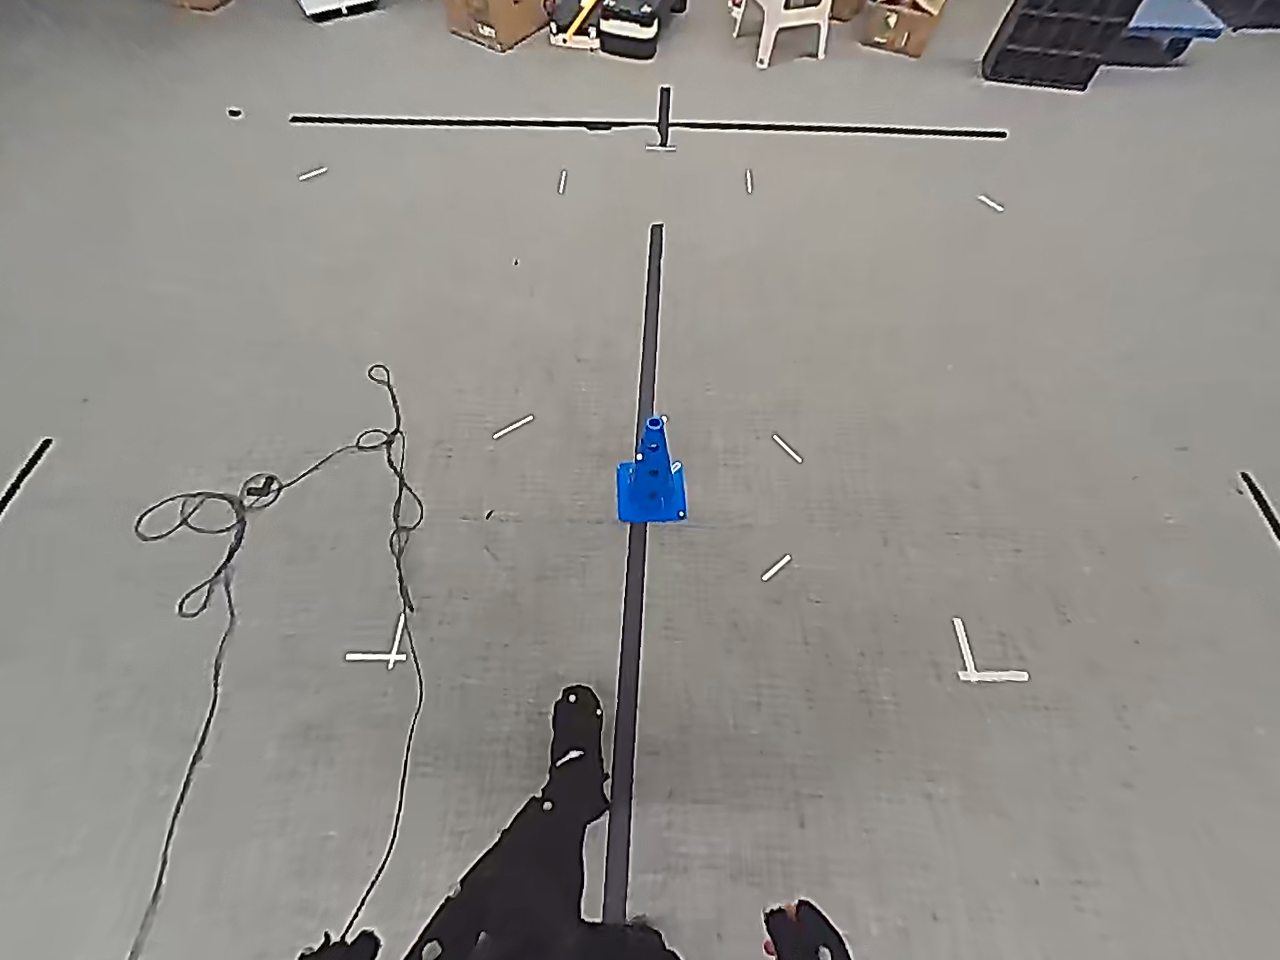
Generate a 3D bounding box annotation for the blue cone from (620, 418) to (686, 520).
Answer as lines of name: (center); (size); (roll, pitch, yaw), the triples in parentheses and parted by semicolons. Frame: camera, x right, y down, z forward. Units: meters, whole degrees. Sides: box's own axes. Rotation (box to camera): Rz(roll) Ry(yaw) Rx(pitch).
blue cone: (0.041, -0.047, 1.459); (0.192, 0.380, 0.193); (0, 61, -2)
